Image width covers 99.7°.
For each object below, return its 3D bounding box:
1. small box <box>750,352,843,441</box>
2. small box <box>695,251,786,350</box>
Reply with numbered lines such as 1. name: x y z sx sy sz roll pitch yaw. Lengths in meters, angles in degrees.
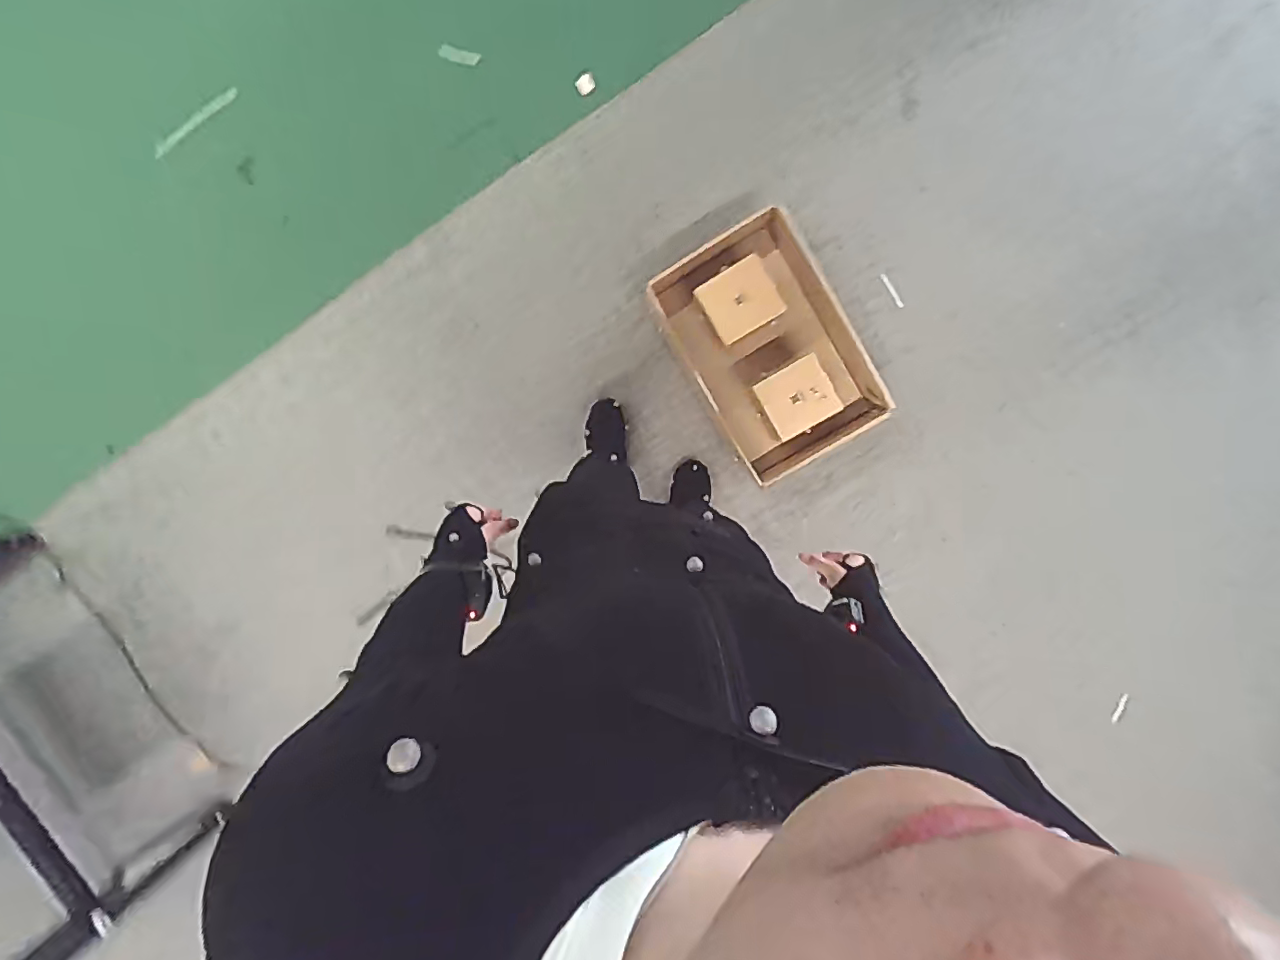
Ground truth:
1. small box: 0.403 -0.215 1.434 0.179 0.176 0.168 -29 93 6
2. small box: 0.256 -0.461 1.420 0.179 0.176 0.168 -30 94 6
